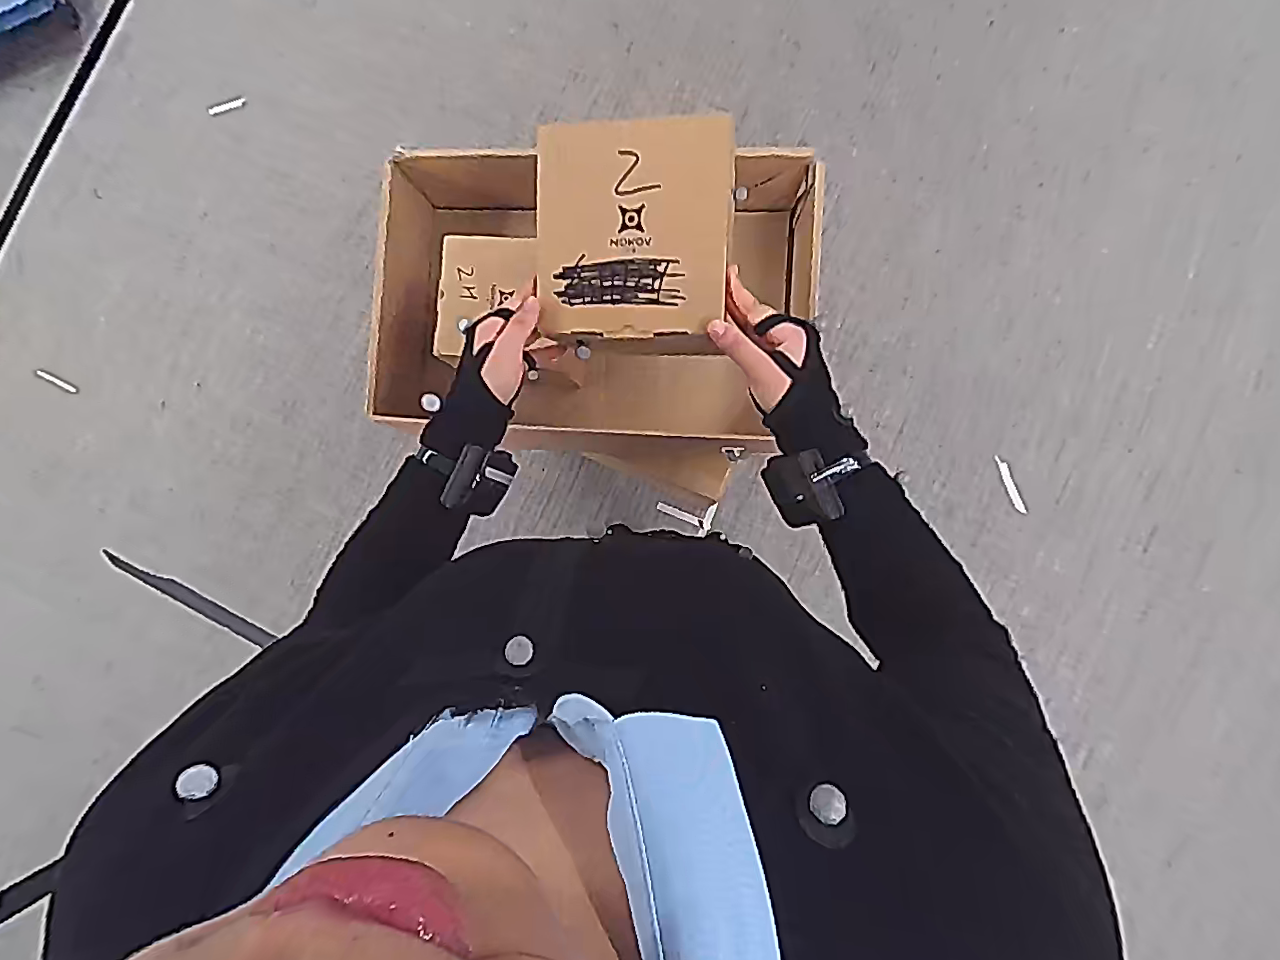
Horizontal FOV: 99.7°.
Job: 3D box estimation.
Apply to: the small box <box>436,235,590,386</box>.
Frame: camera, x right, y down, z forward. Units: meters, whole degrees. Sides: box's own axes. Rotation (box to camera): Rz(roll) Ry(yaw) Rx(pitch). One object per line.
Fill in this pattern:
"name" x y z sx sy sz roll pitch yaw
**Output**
"small box" -0.176 -0.240 0.802 0.179 0.176 0.168 5 87 5
